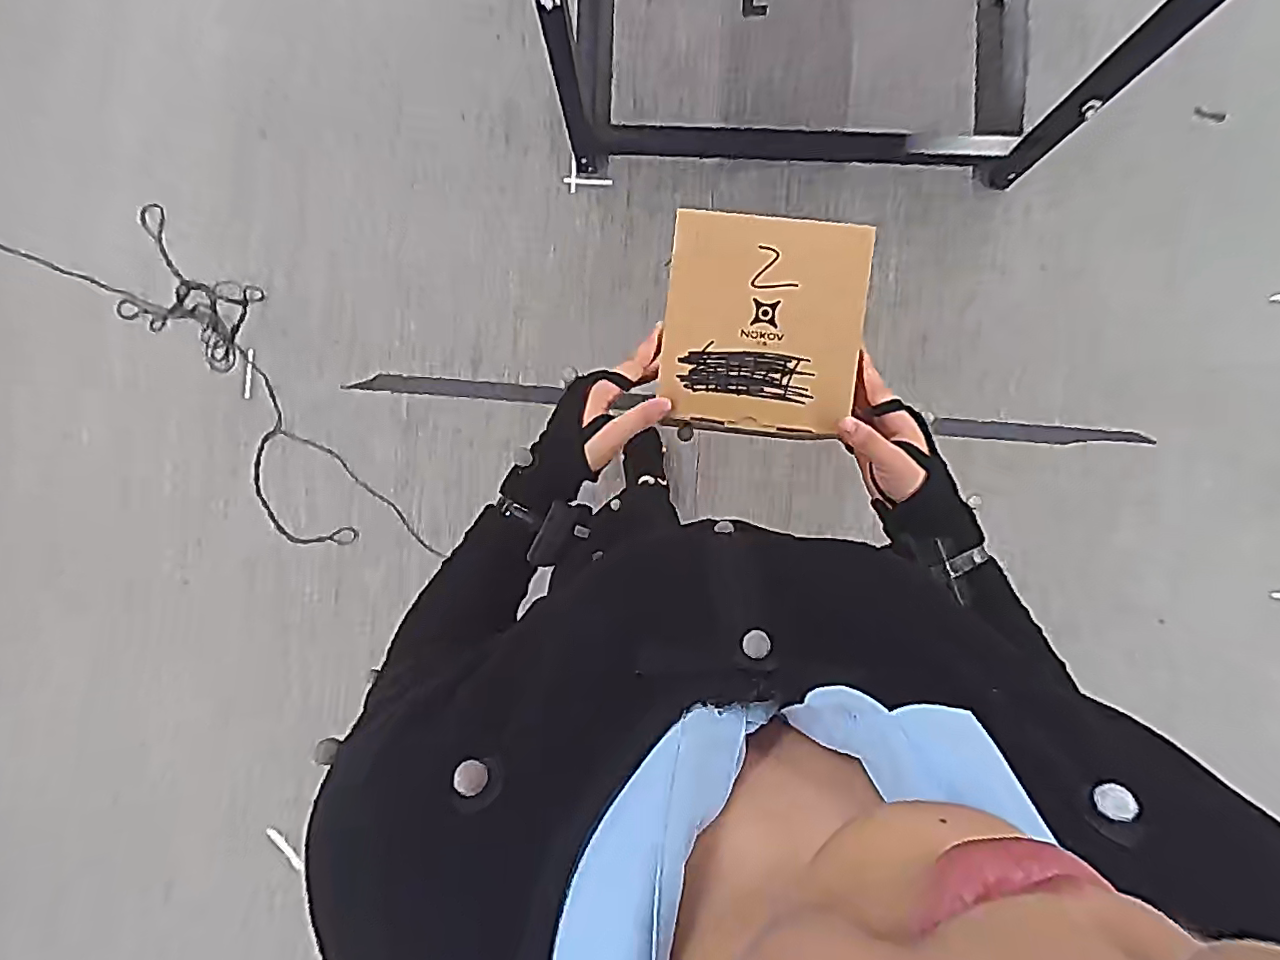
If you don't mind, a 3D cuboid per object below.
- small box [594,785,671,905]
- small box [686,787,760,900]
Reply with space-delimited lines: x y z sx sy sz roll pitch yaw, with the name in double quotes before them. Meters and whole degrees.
"small box" -0.016 0.904 1.351 0.168 0.176 0.179 8 89 0
"small box" 0.202 0.894 1.344 0.168 0.176 0.179 1 89 3
